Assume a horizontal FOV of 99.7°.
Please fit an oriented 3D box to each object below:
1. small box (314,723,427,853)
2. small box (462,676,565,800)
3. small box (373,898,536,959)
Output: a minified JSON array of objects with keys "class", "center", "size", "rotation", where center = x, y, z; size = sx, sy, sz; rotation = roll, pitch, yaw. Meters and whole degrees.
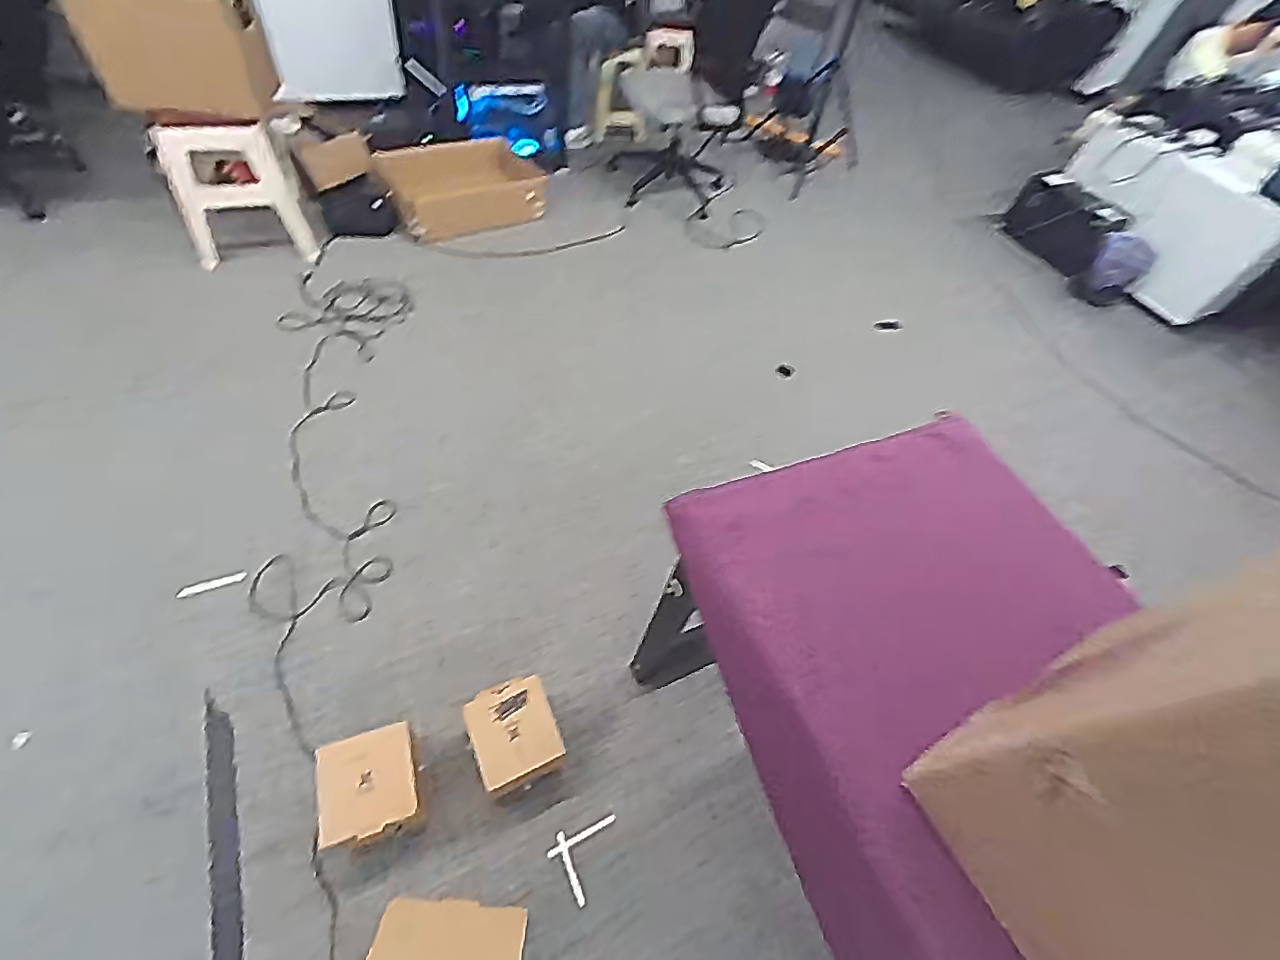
[{"class":"small box","center":[-0.531,0.616,1.076],"size":[0.168,0.176,0.179],"rotation":[-11,56,-20]},{"class":"small box","center":[-0.273,0.558,1.166],"size":[0.168,0.176,0.179],"rotation":[-18,59,-23]},{"class":"small box","center":[-0.214,0.596,0.567],"size":[0.168,0.176,0.179],"rotation":[9,9,-5]}]
